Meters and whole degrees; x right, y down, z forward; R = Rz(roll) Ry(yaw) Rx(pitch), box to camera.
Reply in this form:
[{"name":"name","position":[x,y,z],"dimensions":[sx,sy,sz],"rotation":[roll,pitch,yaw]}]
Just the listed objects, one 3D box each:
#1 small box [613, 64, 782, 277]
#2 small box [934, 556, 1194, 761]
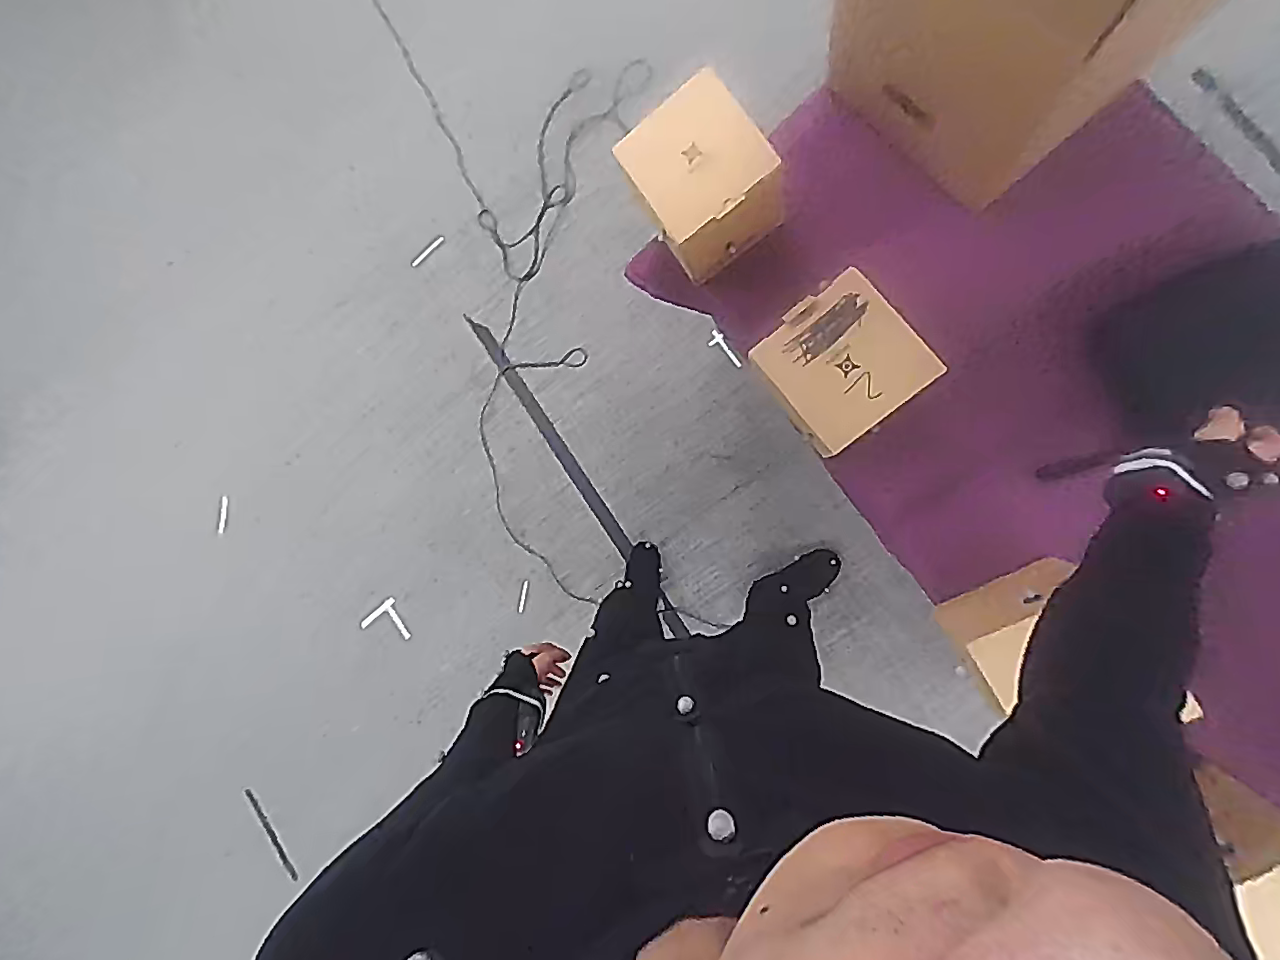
[{"name":"small box","position":[0.090,-0.435,0.795],"dimensions":[0.168,0.176,0.179],"rotation":[-35,84,13]},{"name":"small box","position":[0.519,0.215,0.696],"dimensions":[0.179,0.176,0.168],"rotation":[-30,84,15]}]
